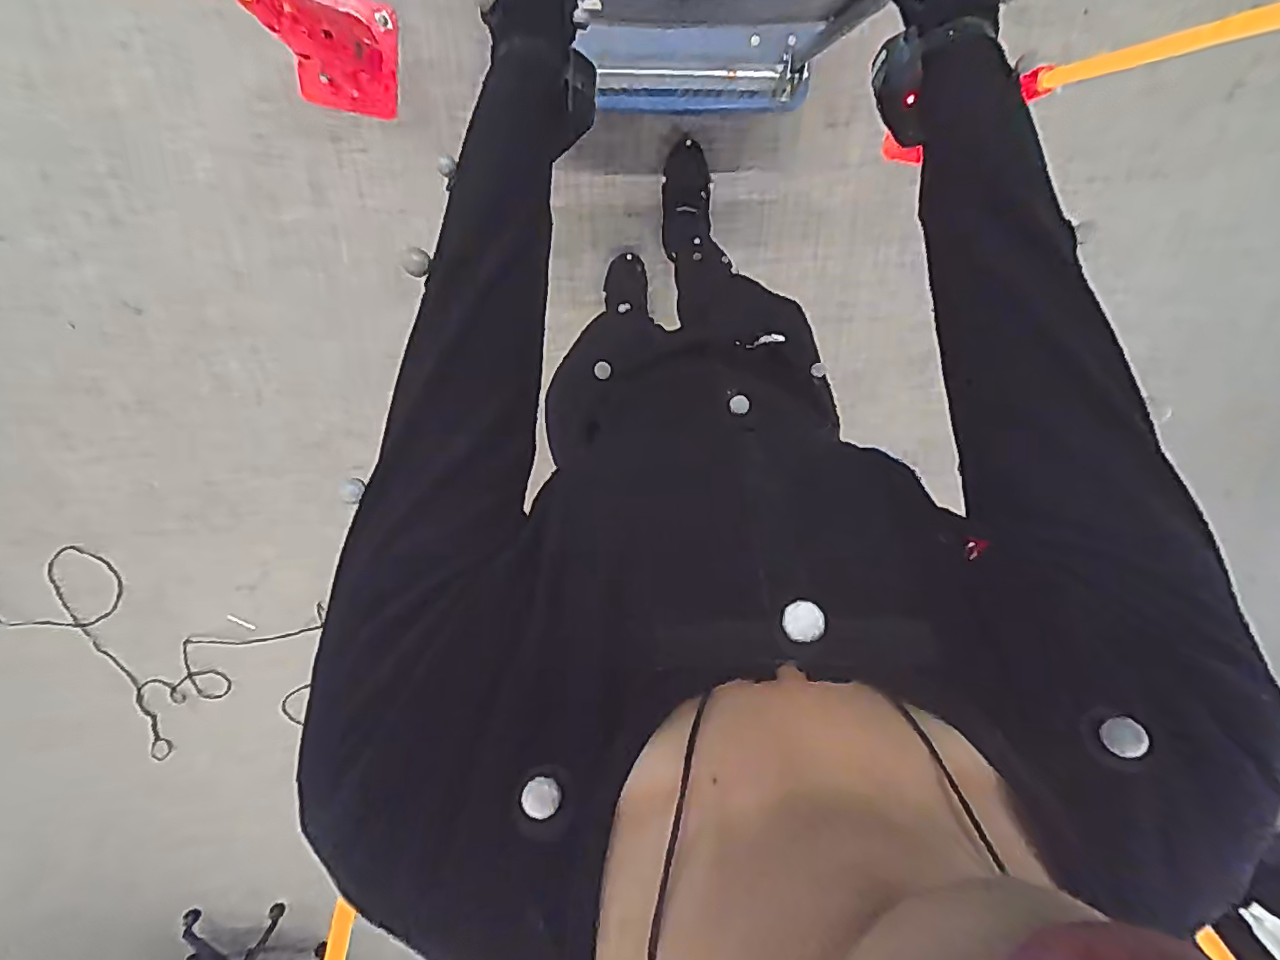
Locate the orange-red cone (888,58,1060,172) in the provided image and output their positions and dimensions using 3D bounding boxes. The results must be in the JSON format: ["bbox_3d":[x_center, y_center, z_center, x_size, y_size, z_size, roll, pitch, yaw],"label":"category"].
[{"bbox_3d":[0.687,-0.747,1.071,0.198,0.360,0.199,7,116,-6],"label":"orange-red cone"}]
